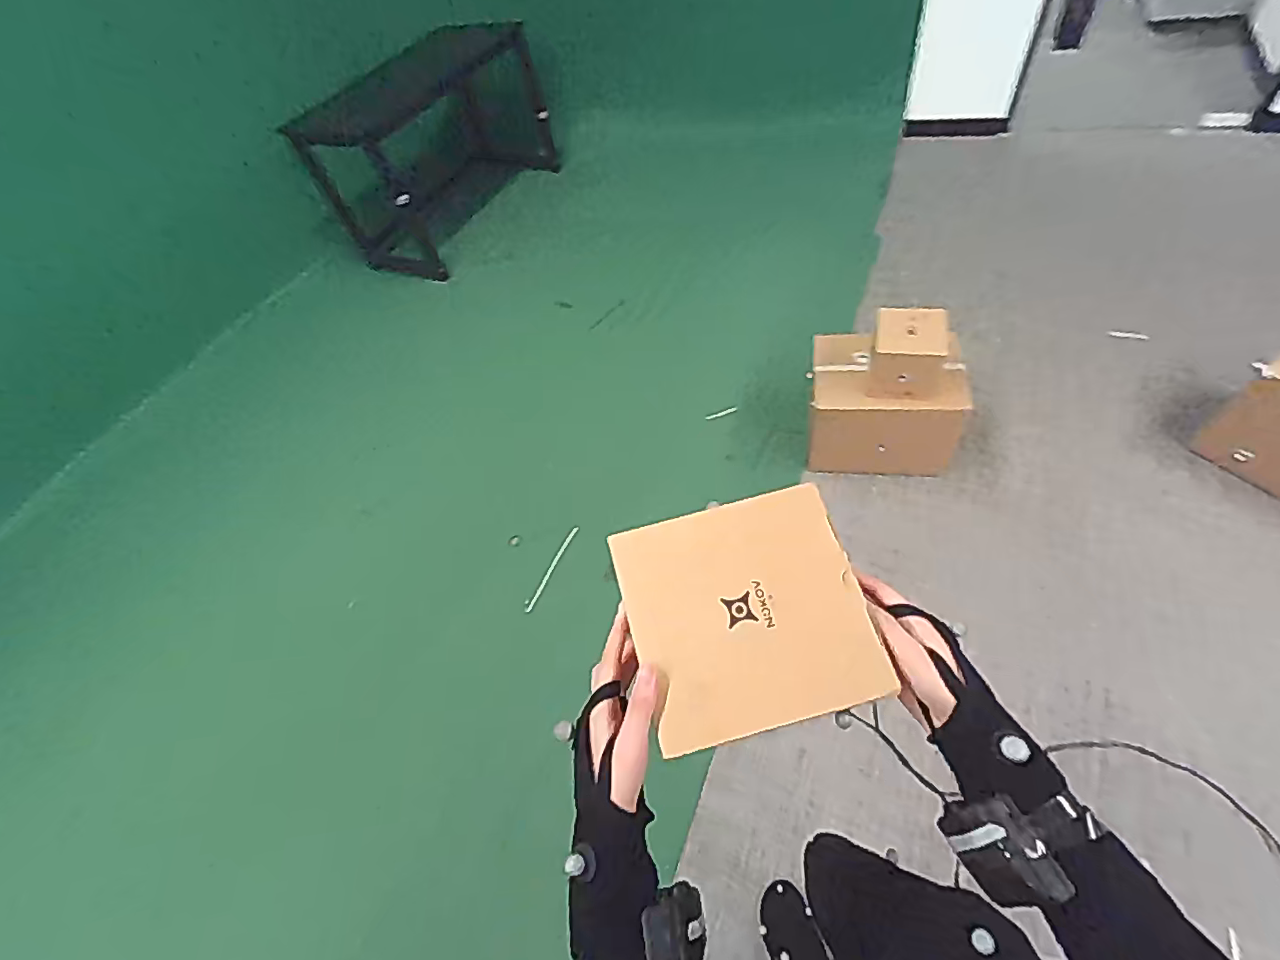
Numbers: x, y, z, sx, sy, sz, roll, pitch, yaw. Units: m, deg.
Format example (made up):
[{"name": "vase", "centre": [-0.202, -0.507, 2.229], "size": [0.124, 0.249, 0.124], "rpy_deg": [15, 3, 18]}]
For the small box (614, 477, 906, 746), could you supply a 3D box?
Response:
[{"name": "small box", "centre": [0.085, 0.121, 0.470], "size": [0.179, 0.176, 0.168], "rpy_deg": [-14, 67, -4]}]

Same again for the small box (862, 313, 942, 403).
[{"name": "small box", "centre": [0.706, -0.329, 1.466], "size": [0.168, 0.176, 0.179], "rpy_deg": [8, 57, 16]}]

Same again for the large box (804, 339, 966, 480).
[{"name": "large box", "centre": [0.730, -0.212, 1.686], "size": [0.408, 0.320, 0.320], "rpy_deg": [1, 54, 15]}]
